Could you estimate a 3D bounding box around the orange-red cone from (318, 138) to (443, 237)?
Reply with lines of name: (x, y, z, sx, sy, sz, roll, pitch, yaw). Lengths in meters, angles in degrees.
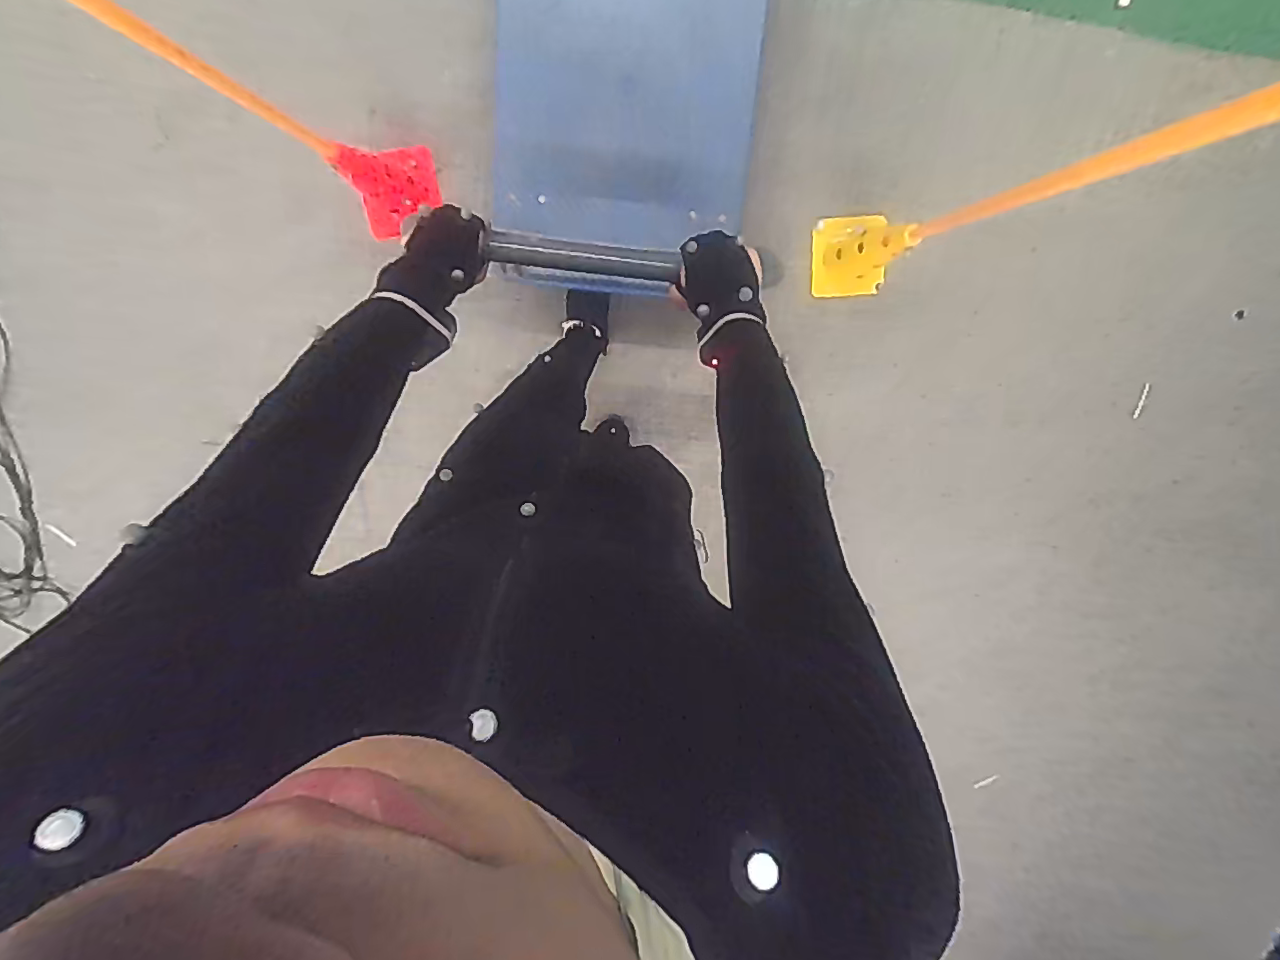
orange-red cone: (-0.610, -0.687, 1.215, 0.199, 0.360, 0.198, -7, 105, 2)
